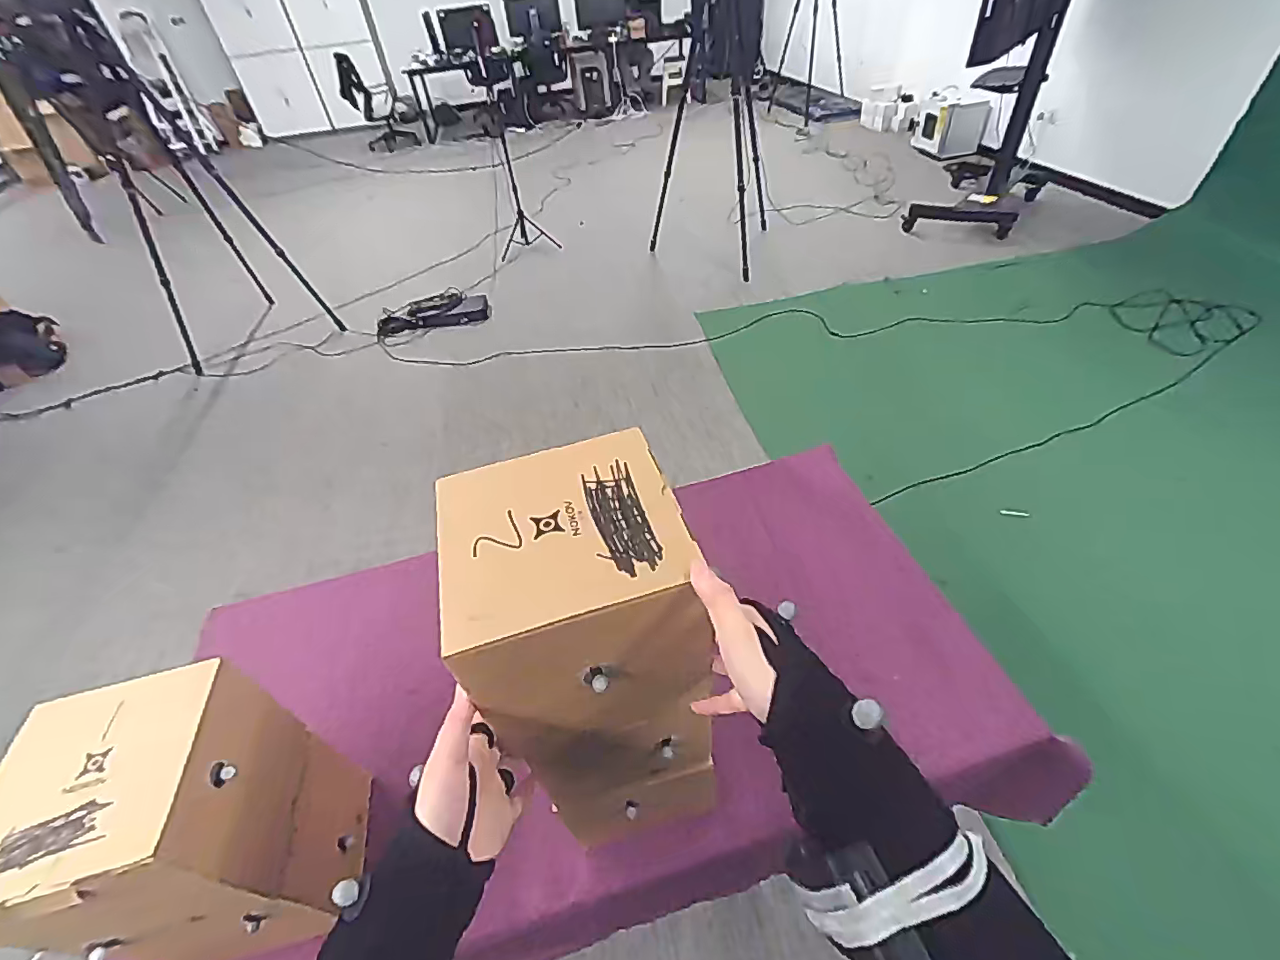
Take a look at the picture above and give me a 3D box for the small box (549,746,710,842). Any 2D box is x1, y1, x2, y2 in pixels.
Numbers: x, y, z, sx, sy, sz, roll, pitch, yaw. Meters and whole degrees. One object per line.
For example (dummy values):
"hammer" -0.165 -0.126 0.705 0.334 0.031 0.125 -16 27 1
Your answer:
"small box" -0.016 0.324 0.676 0.179 0.176 0.168 -13 45 -6

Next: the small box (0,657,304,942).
"small box" -0.455 0.306 0.515 0.168 0.176 0.179 -13 43 -8

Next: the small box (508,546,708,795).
"small box" -0.031 0.204 0.567 0.168 0.176 0.179 -14 44 -8

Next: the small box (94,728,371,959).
"small box" -0.443 0.424 0.628 0.179 0.176 0.168 -13 45 -8
